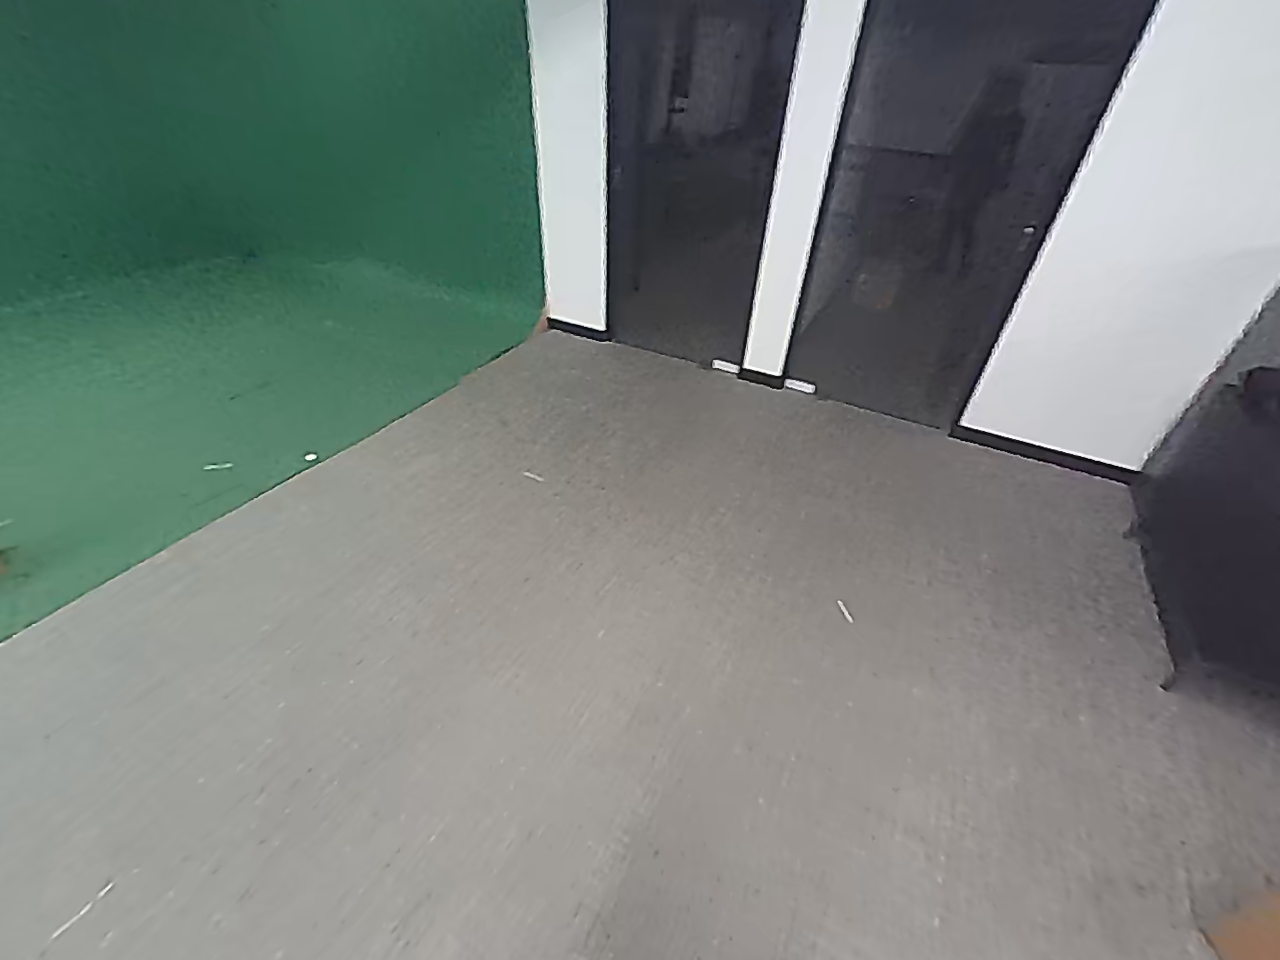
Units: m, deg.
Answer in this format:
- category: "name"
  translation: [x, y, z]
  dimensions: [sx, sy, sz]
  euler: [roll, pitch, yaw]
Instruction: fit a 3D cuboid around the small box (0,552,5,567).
- category: "small box"
  translation: [-2.330, 0.246, 1.831]
  dimensions: [0.168, 0.176, 0.179]
  euler: [24, 43, 23]
